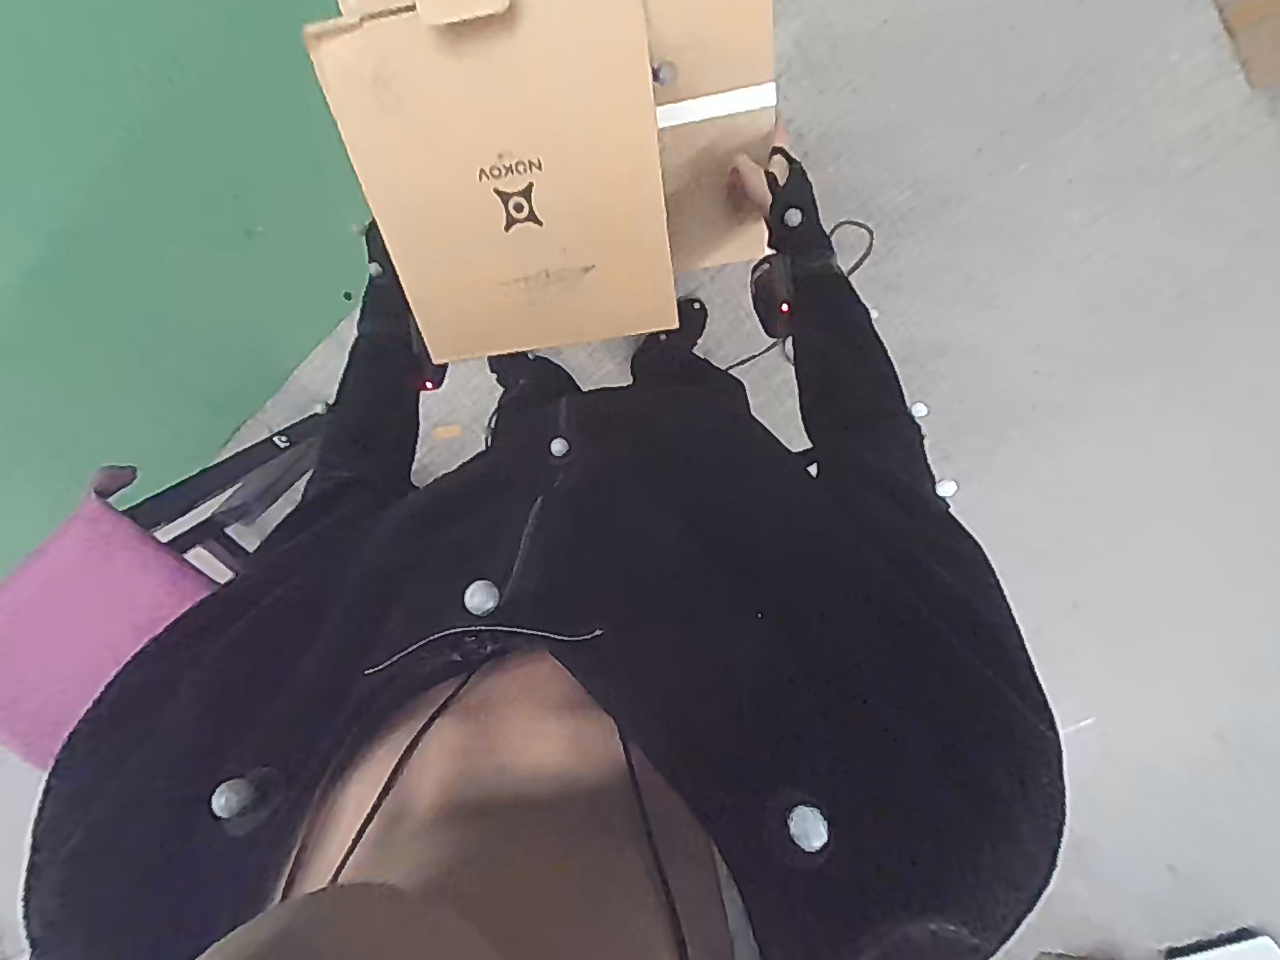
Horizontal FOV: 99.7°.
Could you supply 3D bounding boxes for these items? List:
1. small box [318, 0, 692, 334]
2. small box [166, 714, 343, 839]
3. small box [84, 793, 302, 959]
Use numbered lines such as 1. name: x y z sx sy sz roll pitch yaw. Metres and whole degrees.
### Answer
1. small box: -0.059 -0.217 0.352 0.168 0.176 0.179 -6 127 5
2. small box: -0.678 0.563 0.978 0.179 0.176 0.168 -39 107 18
3. small box: -0.663 0.624 0.823 0.168 0.176 0.179 39 111 -15
